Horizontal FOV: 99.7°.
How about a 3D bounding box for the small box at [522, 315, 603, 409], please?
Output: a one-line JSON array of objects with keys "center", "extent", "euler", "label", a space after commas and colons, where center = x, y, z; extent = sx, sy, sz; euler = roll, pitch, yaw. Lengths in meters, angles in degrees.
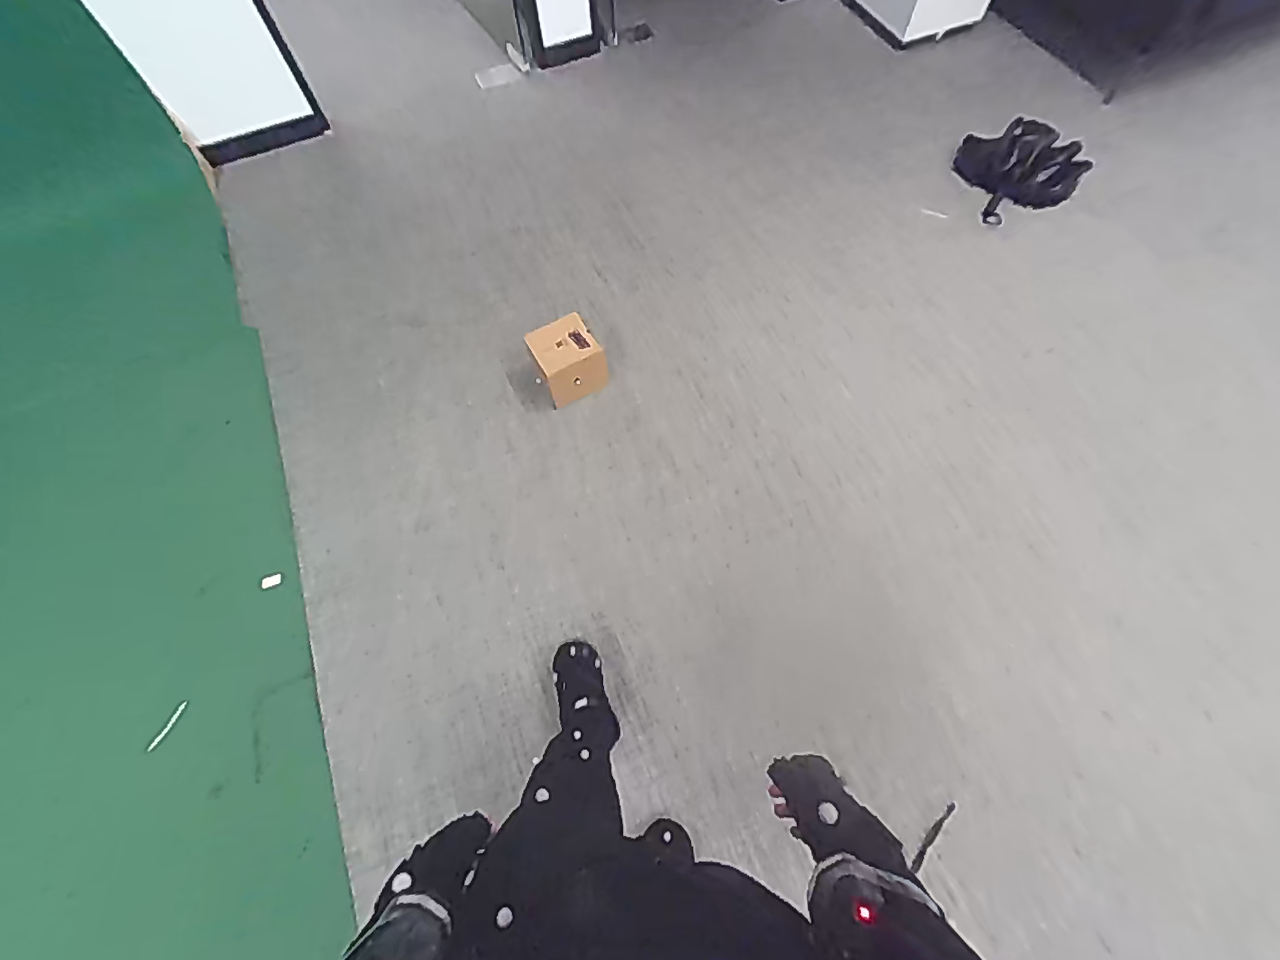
[{"center": [-0.221, -0.345, 1.596], "extent": [0.179, 0.176, 0.168], "euler": [-31, 68, -13], "label": "small box"}]
